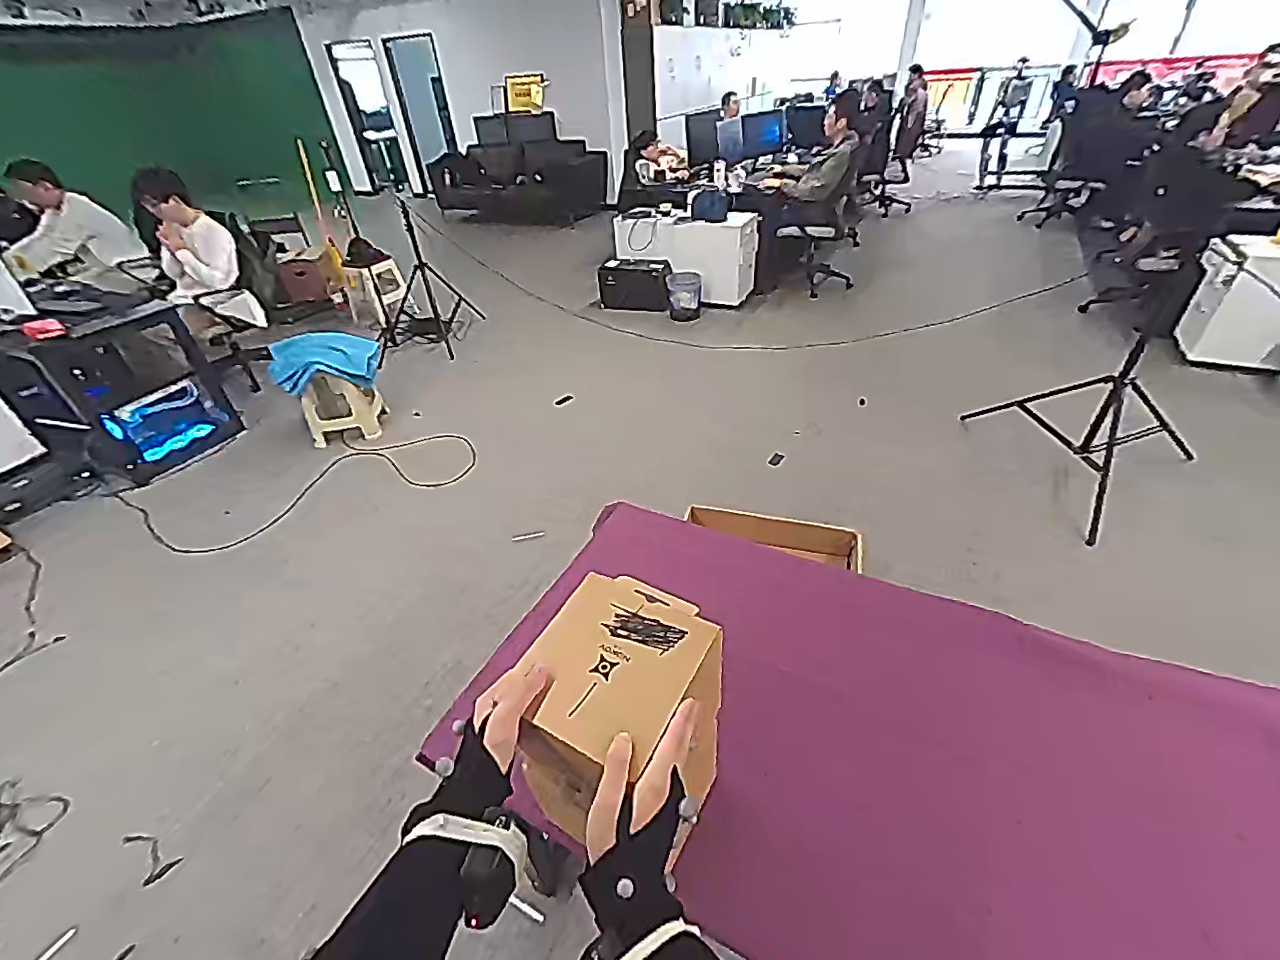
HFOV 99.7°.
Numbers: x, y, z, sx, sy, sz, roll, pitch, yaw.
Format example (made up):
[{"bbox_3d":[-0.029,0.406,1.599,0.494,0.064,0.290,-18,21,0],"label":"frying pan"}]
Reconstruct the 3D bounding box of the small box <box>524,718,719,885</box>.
[{"bbox_3d":[-0.012,0.369,0.684,0.179,0.176,0.168,18,45,27],"label":"small box"}]

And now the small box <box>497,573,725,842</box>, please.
[{"bbox_3d":[-0.020,0.239,0.584,0.168,0.176,0.179,18,47,26],"label":"small box"}]
